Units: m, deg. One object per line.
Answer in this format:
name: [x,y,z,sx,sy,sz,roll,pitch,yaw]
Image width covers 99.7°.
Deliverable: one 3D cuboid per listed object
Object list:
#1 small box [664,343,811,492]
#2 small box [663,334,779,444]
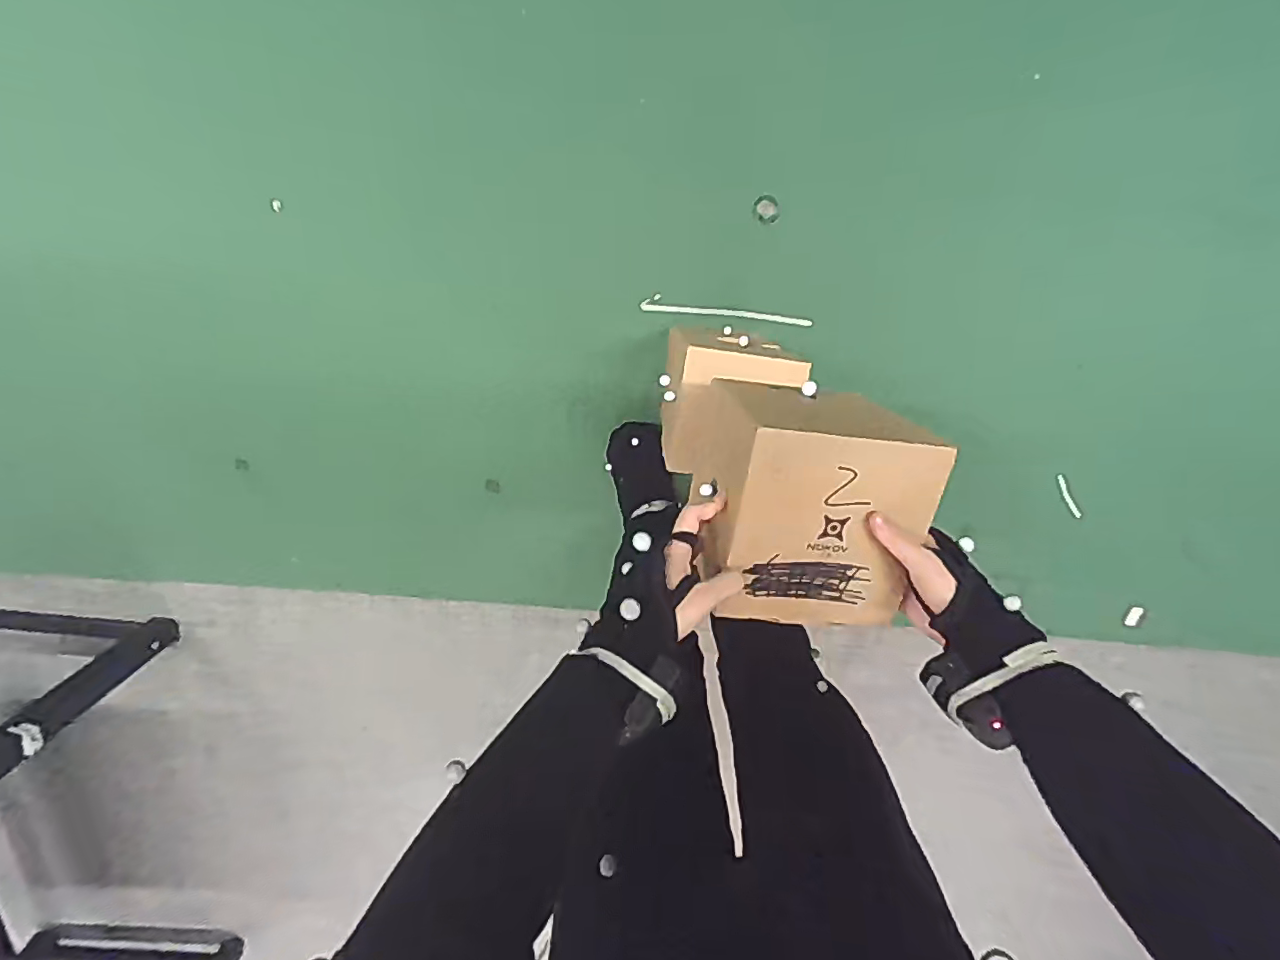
small box: [0.130,-0.101,0.802,0.168,0.176,0.179,8,109,-3]
small box: [0.133,-0.156,0.959,0.168,0.176,0.179,6,109,-2]
